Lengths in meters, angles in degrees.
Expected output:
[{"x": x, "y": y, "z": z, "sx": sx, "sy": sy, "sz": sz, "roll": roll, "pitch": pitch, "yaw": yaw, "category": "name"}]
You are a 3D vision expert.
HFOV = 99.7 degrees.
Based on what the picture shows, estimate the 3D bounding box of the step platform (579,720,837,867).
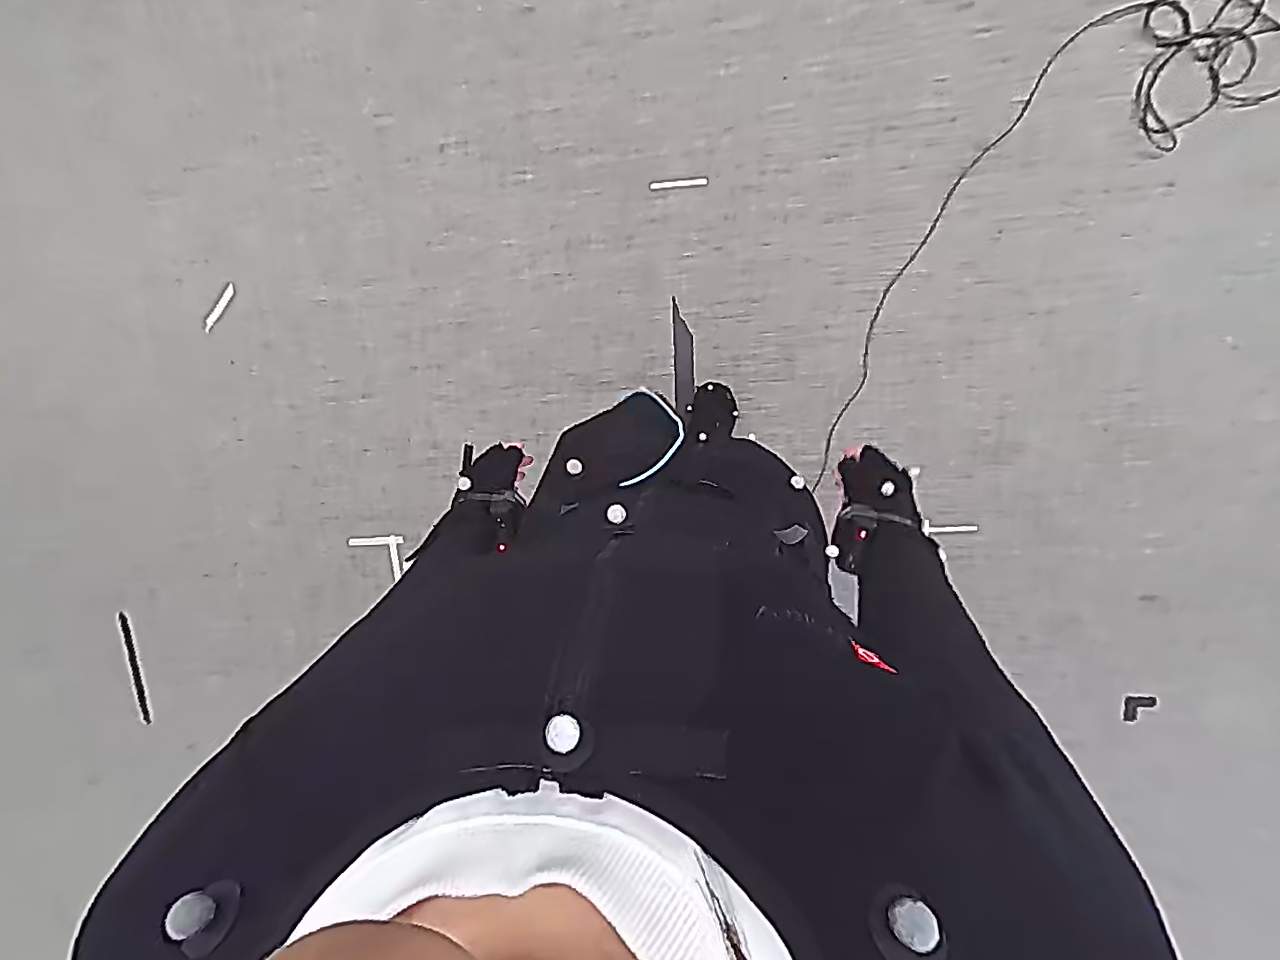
[{"x": 0.176, "y": 0.845, "z": 1.476, "sx": 0.684, "sy": 0.204, "sz": 0.286, "roll": -2, "pitch": 99, "yaw": 10, "category": "step platform"}]
